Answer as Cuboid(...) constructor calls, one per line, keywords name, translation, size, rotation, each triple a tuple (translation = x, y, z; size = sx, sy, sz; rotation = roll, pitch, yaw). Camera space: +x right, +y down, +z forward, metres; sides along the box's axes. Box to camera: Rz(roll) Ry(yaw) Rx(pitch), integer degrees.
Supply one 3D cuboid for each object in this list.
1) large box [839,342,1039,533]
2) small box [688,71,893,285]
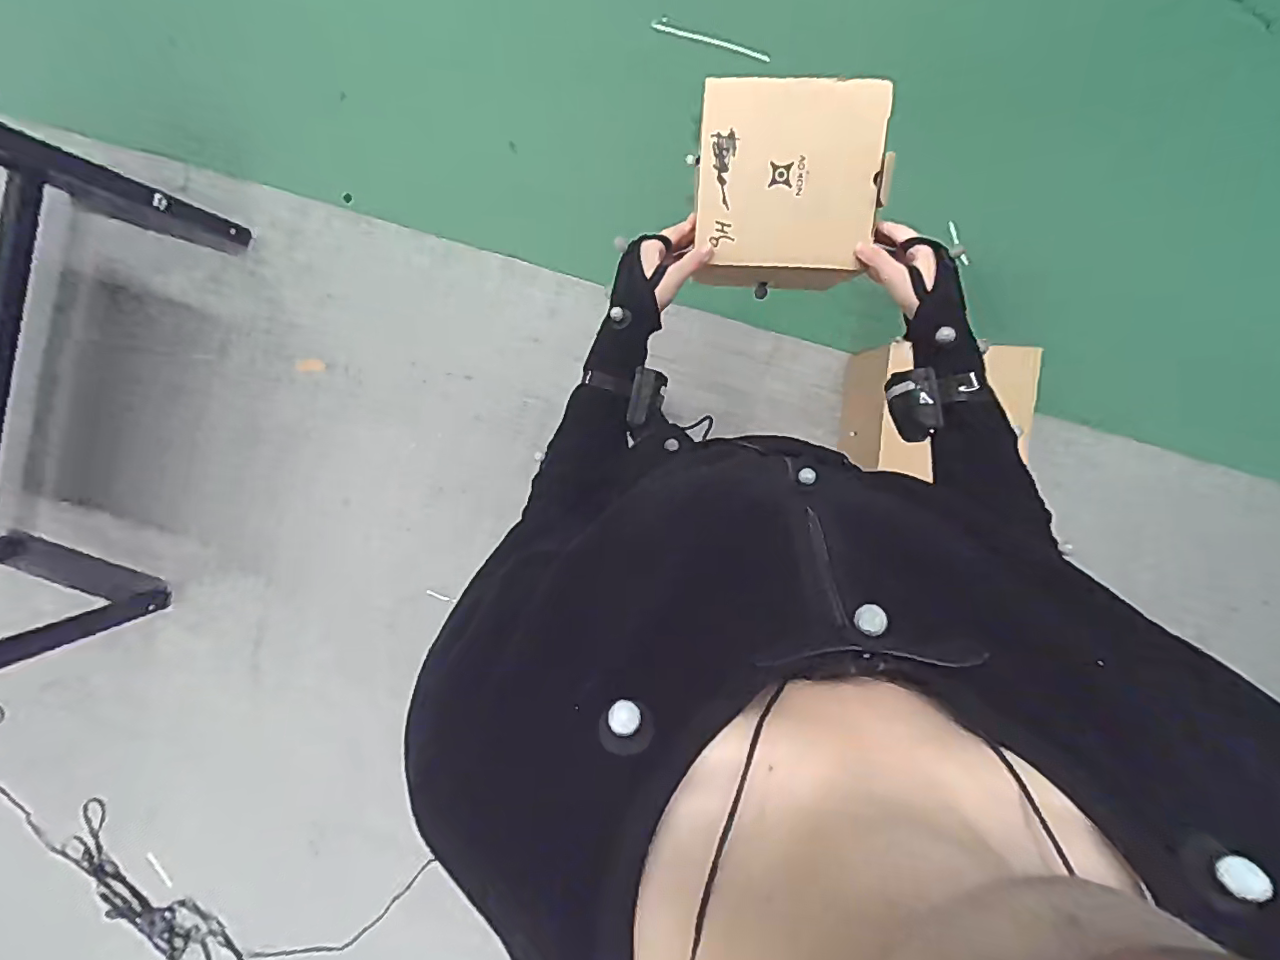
Cuboid(name="large box", translation=(0.687, -0.101, 1.305), size=(0.320, 0.320, 0.408), rotation=(4, 95, 4))
Cuboid(name="small box", translation=(0.146, -0.311, 0.591), size=(0.179, 0.176, 0.168), rotation=(3, 103, 4))
